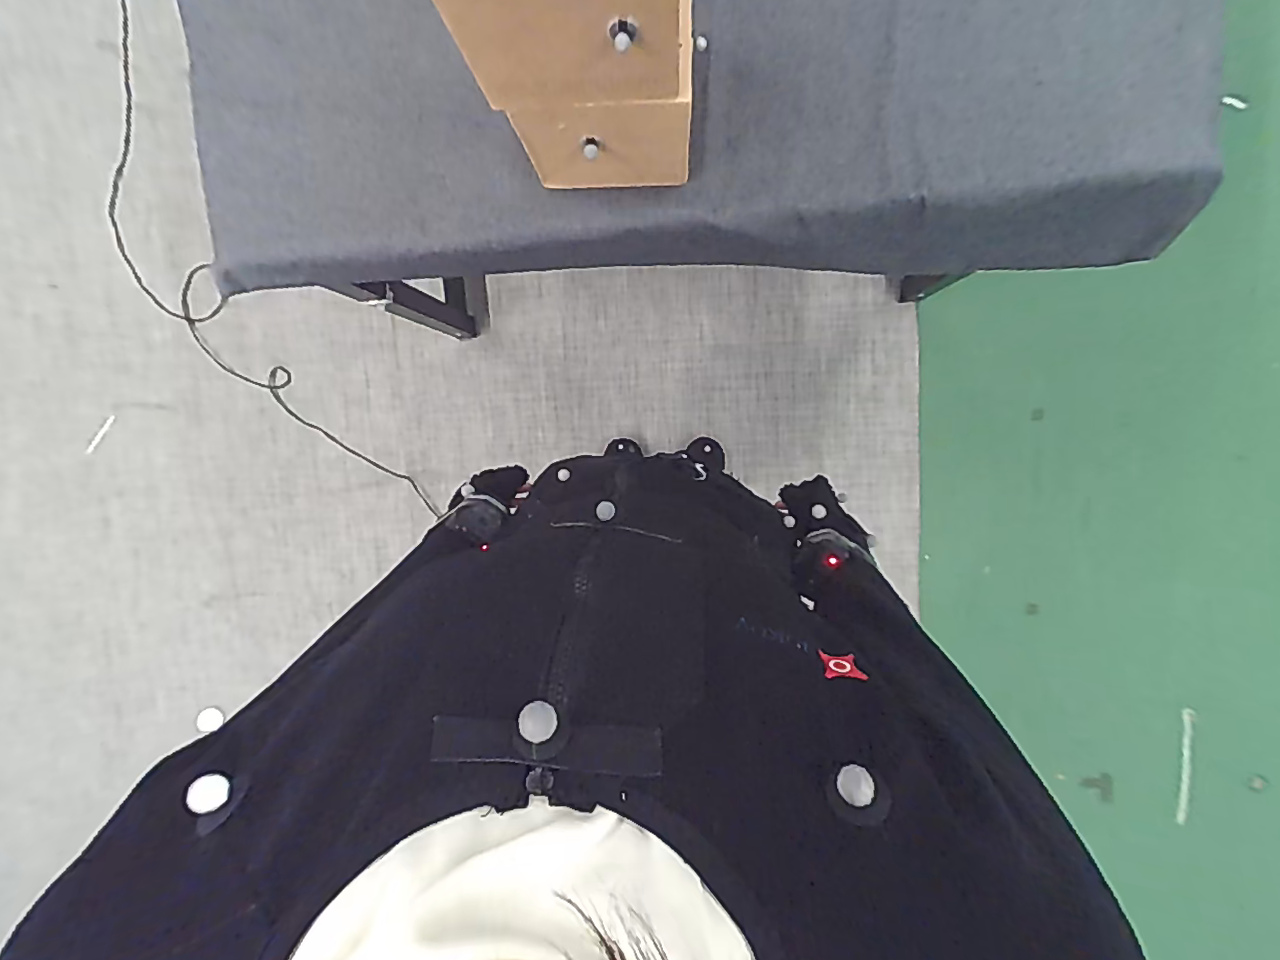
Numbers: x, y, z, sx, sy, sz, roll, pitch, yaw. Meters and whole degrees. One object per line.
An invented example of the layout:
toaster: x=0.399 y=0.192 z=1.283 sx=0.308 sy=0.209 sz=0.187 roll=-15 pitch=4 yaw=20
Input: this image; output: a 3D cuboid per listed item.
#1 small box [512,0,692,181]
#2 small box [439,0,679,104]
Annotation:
small box: x=-0.034 y=-0.440 z=0.576 sx=0.179 sy=0.176 sz=0.168 roll=1 pitch=95 yaw=4
small box: x=-0.057 y=-0.427 z=0.416 sx=0.179 sy=0.176 sz=0.168 roll=-1 pitch=93 yaw=4
